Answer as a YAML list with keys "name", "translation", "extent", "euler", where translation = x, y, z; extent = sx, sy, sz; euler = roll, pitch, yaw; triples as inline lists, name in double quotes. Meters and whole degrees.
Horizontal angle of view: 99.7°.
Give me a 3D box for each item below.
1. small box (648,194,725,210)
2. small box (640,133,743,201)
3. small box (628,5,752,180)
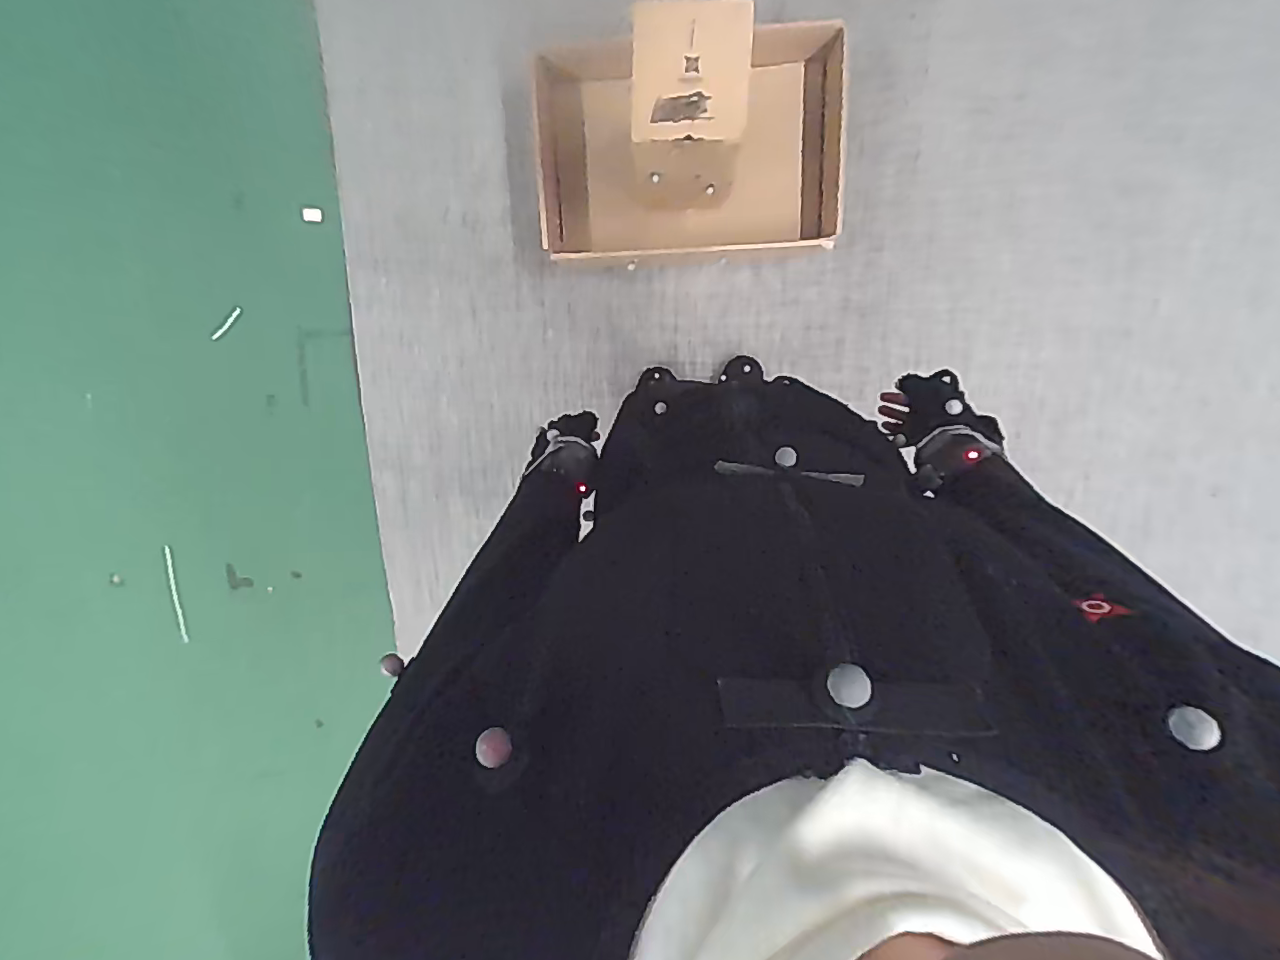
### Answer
- name: "small box"
  translation: [0.096, -0.686, 1.148]
  extent: [0.179, 0.176, 0.168]
  euler: [-3, 102, 4]
- name: "small box"
  translation: [0.088, -0.618, 0.979]
  extent: [0.179, 0.176, 0.168]
  euler: [-2, 103, 4]
- name: "small box"
  translation: [0.074, -0.582, 0.835]
  extent: [0.168, 0.176, 0.179]
  euler: [3, 102, 3]
